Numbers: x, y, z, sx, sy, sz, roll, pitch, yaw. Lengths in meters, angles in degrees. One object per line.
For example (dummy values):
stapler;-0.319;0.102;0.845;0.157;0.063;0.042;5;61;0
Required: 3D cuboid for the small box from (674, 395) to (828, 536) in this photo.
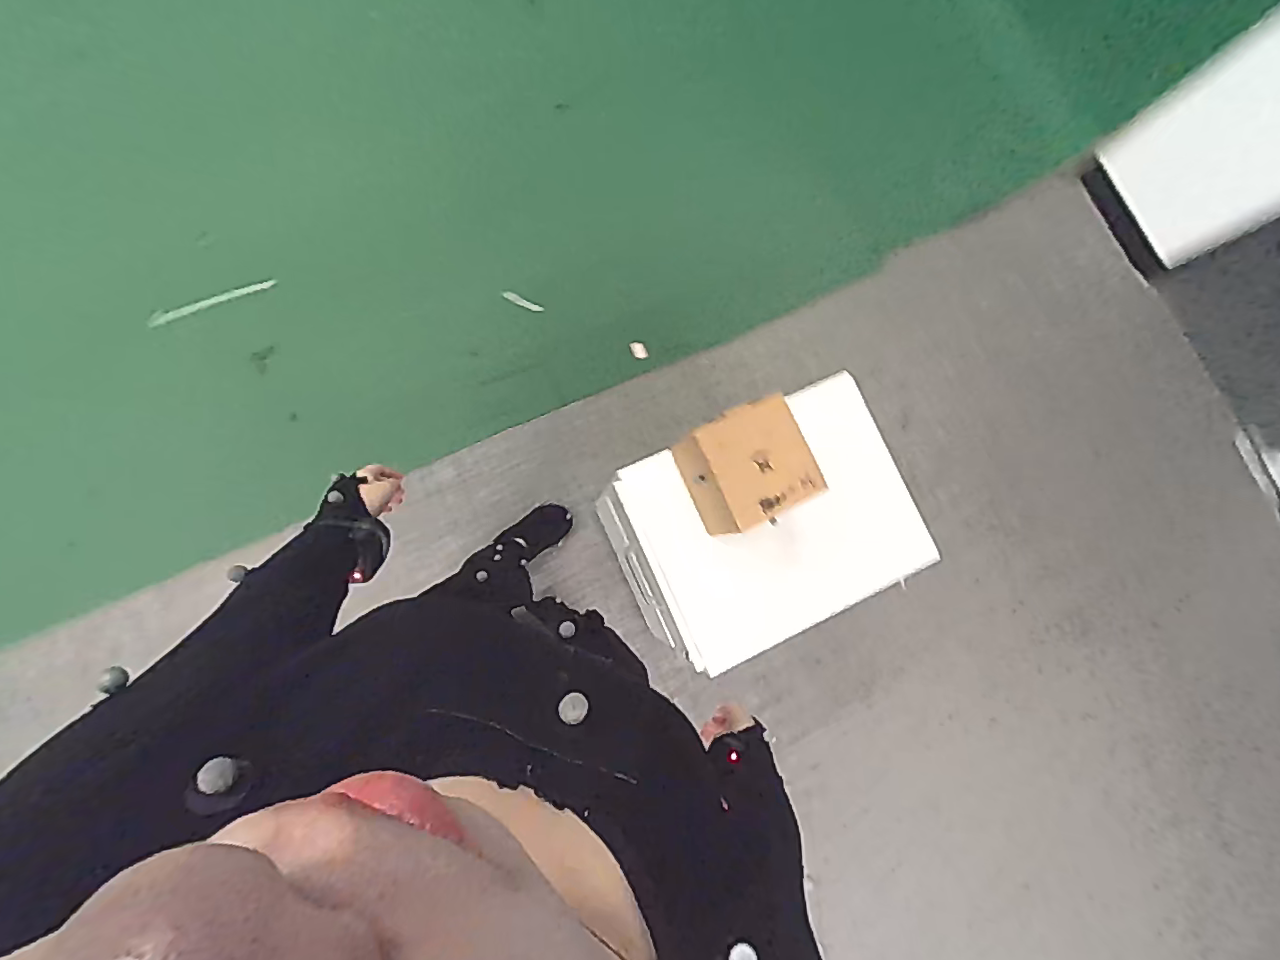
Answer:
small box;0.175;-0.016;0.913;0.168;0.176;0.179;-23;86;-12
